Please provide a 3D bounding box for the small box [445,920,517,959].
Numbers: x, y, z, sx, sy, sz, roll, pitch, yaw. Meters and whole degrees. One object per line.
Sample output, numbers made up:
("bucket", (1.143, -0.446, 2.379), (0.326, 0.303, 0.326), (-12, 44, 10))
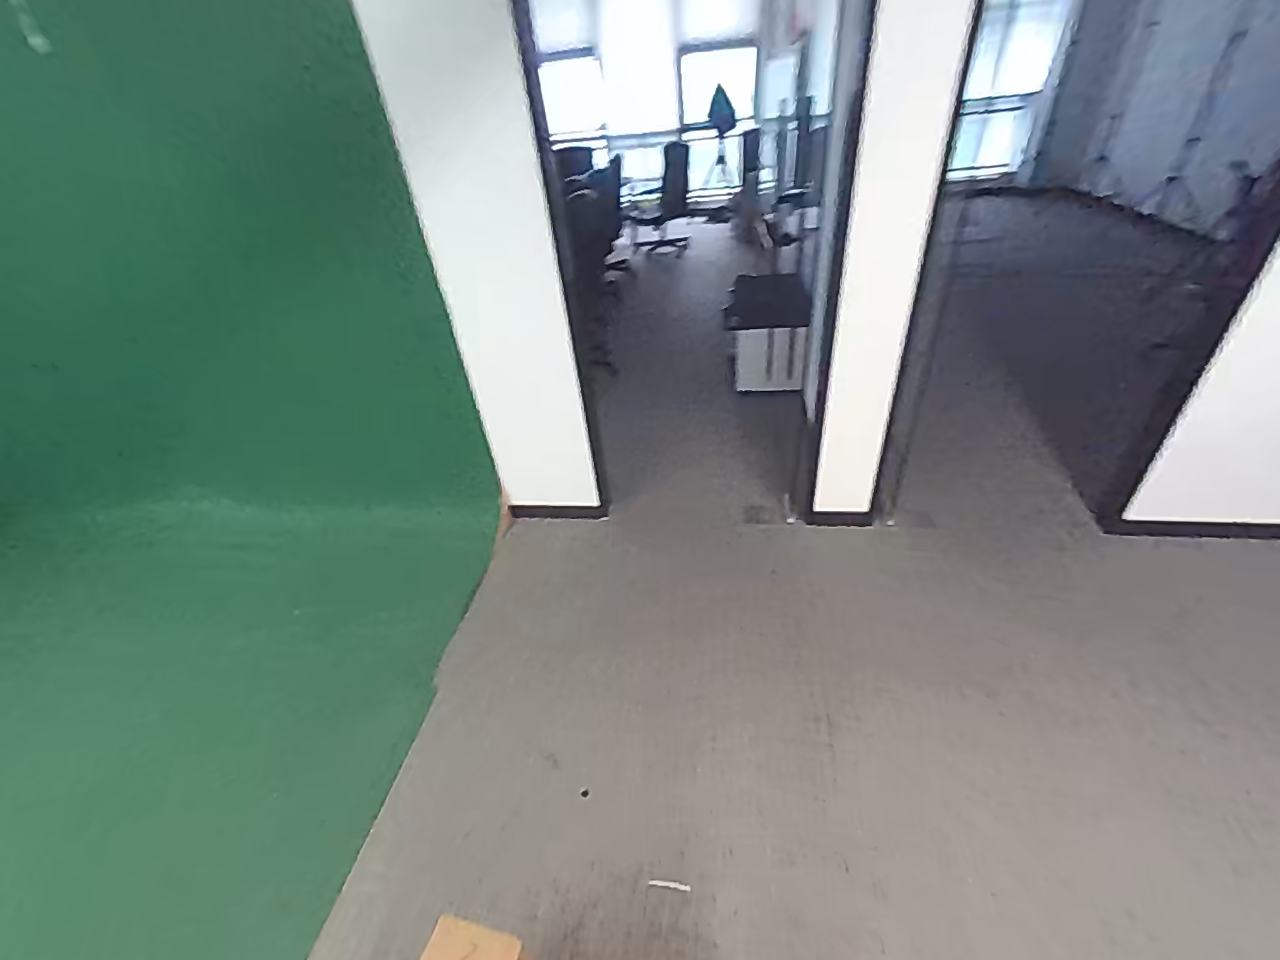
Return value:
("small box", (-0.306, 1.027, 1.053), (0.168, 0.176, 0.179), (-34, 44, -30))
